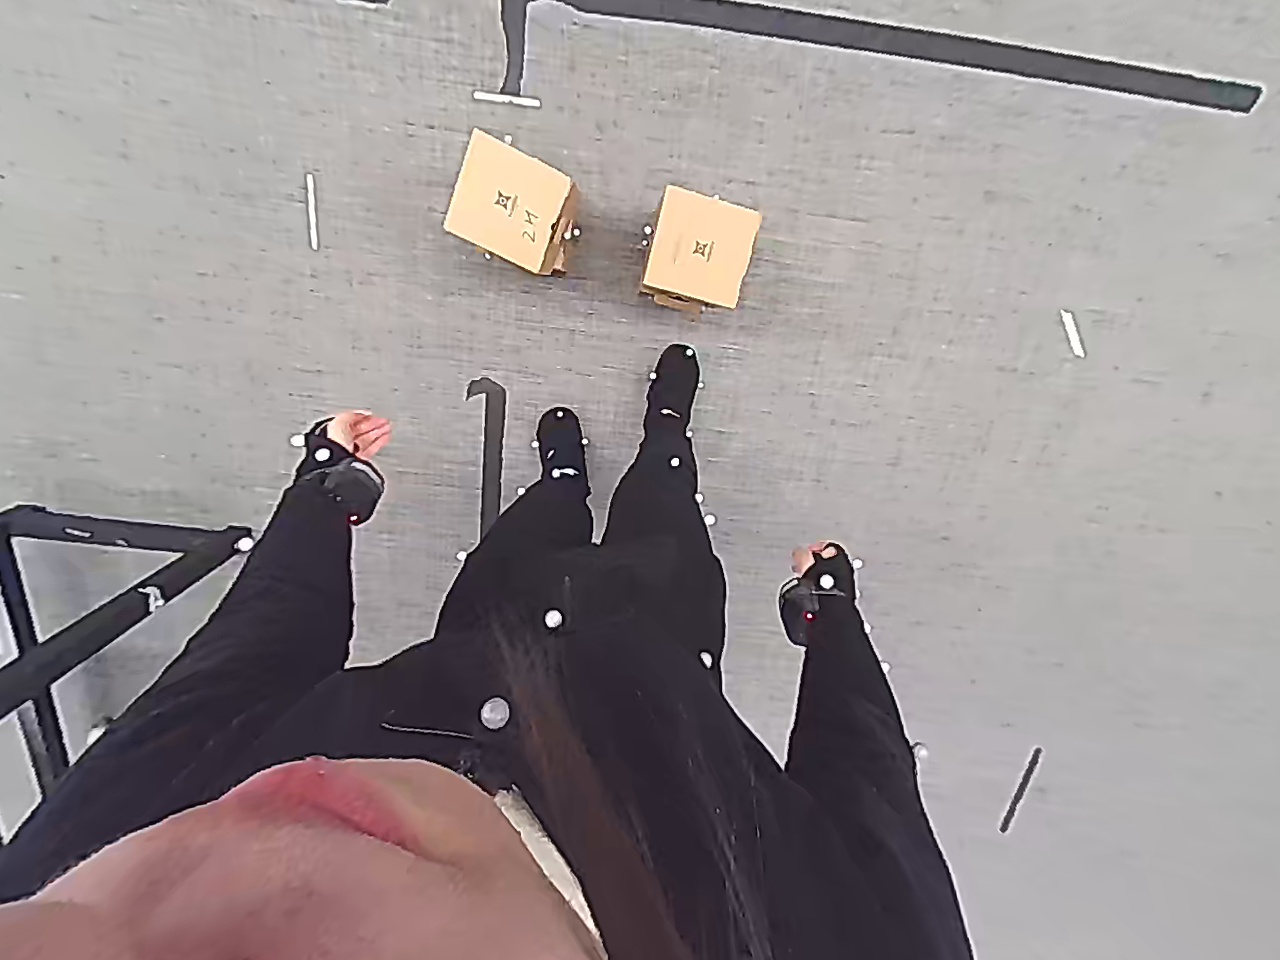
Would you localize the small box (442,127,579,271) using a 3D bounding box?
[{"bbox_3d":[-0.224,-0.488,0.973,0.179,0.176,0.168,23,108,-10],"label":"small box"}]

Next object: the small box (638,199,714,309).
[{"bbox_3d":[0.095,-0.480,1.167,0.168,0.176,0.179,12,108,-7],"label":"small box"}]

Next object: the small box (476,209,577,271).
[{"bbox_3d":[-0.229,-0.543,1.129,0.179,0.176,0.168,11,109,-7],"label":"small box"}]

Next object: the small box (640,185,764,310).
[{"bbox_3d":[0.105,-0.428,1.013,0.179,0.176,0.168,14,108,-7],"label":"small box"}]
